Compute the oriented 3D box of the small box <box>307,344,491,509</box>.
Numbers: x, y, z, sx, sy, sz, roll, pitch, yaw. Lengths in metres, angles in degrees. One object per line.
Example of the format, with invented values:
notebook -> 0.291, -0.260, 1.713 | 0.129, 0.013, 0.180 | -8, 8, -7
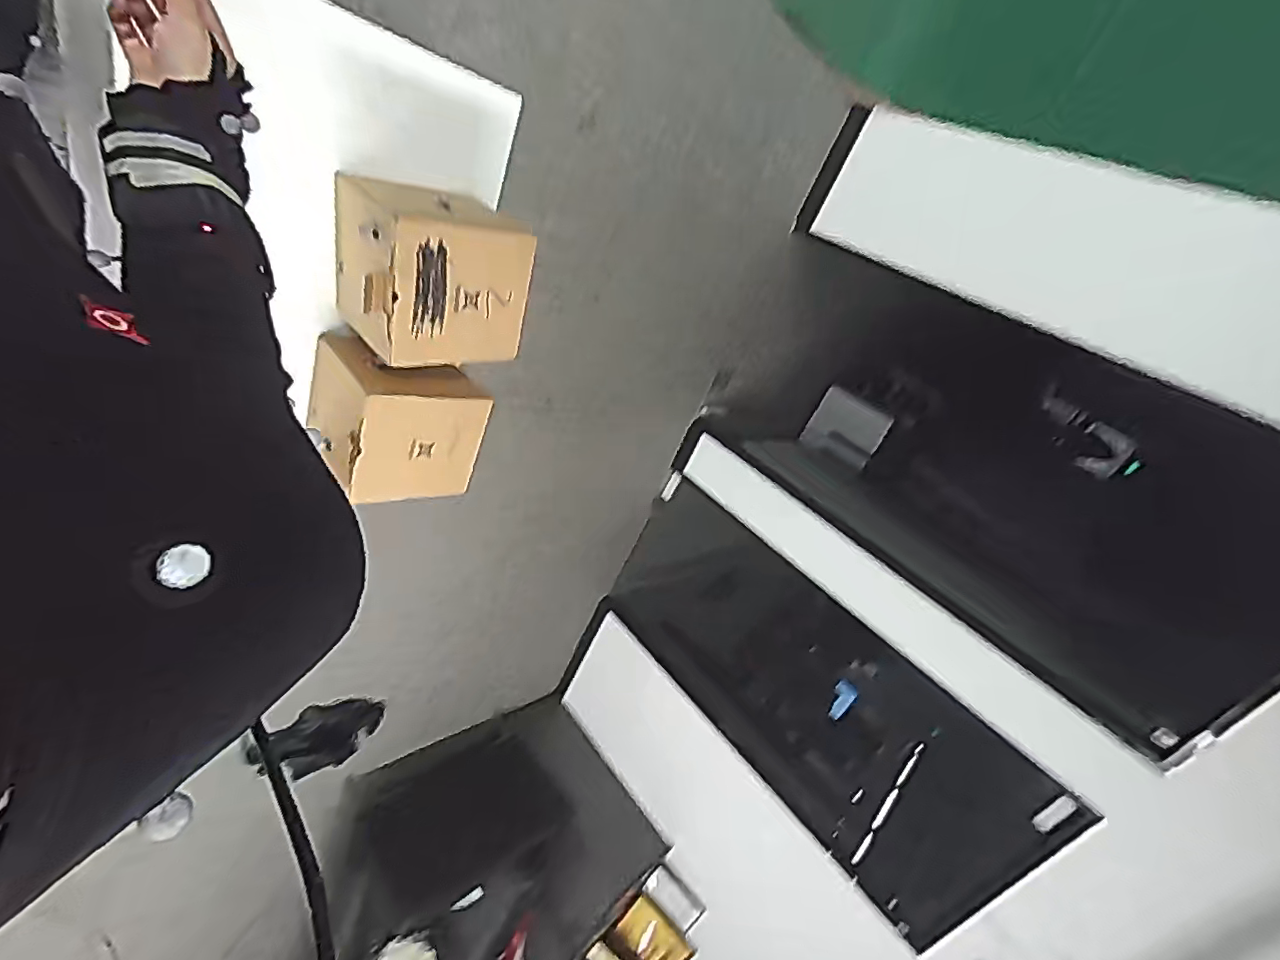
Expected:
small box -> -0.349, -0.081, 0.772 | 0.179, 0.176, 0.168 | -8, 131, -49
